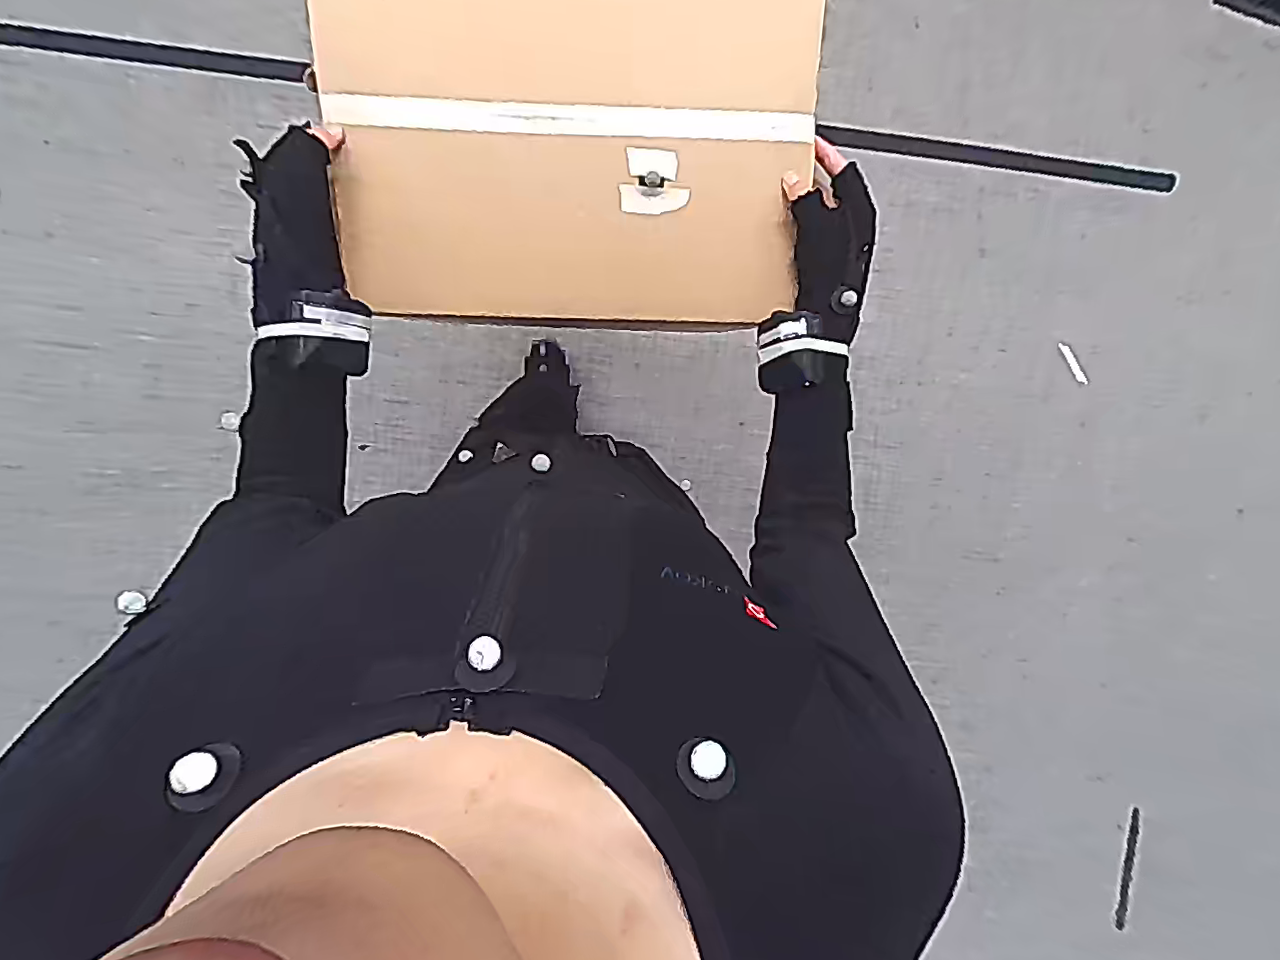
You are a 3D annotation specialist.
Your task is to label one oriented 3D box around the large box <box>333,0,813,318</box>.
[{"bbox_3d":[-0.061,-0.352,0.611,0.408,0.320,0.320,0,105,-4],"label":"large box"}]
